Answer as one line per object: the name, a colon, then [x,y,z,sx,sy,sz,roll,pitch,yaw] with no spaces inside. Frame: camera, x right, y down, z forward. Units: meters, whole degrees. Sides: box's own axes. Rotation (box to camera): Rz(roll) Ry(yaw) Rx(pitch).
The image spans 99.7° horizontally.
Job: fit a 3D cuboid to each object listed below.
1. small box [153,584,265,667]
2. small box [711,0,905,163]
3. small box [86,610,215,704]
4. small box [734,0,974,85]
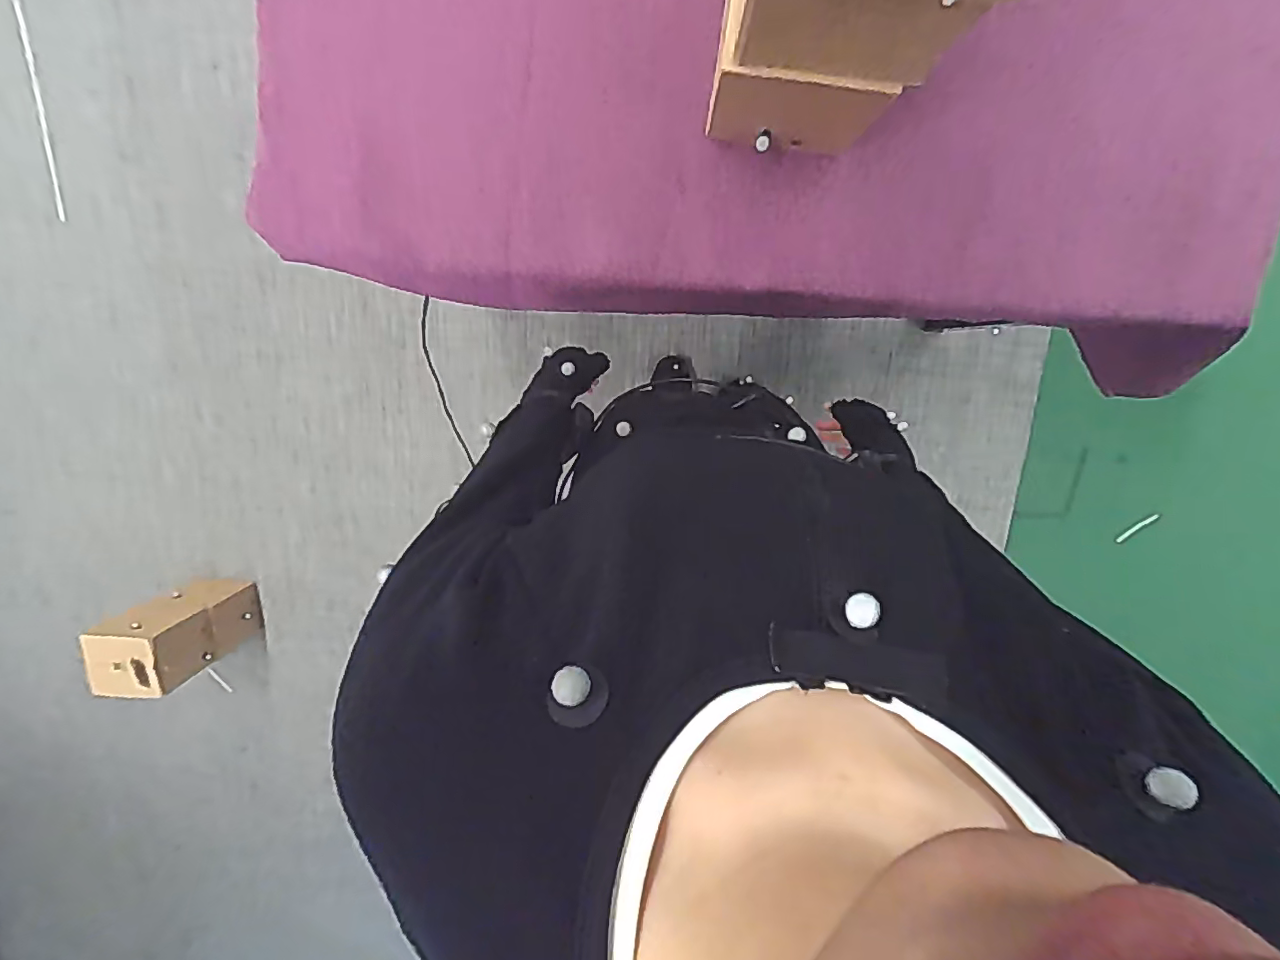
small box: [-1.212,0.406,1.531,0.179,0.176,0.168,3,104,1]
small box: [0.168,-0.451,0.541,0.168,0.176,0.179,8,104,1]
small box: [-1.224,0.443,1.371,0.179,0.176,0.168,2,103,2]
small box: [0.169,-0.416,0.383,0.179,0.176,0.168,7,103,1]
